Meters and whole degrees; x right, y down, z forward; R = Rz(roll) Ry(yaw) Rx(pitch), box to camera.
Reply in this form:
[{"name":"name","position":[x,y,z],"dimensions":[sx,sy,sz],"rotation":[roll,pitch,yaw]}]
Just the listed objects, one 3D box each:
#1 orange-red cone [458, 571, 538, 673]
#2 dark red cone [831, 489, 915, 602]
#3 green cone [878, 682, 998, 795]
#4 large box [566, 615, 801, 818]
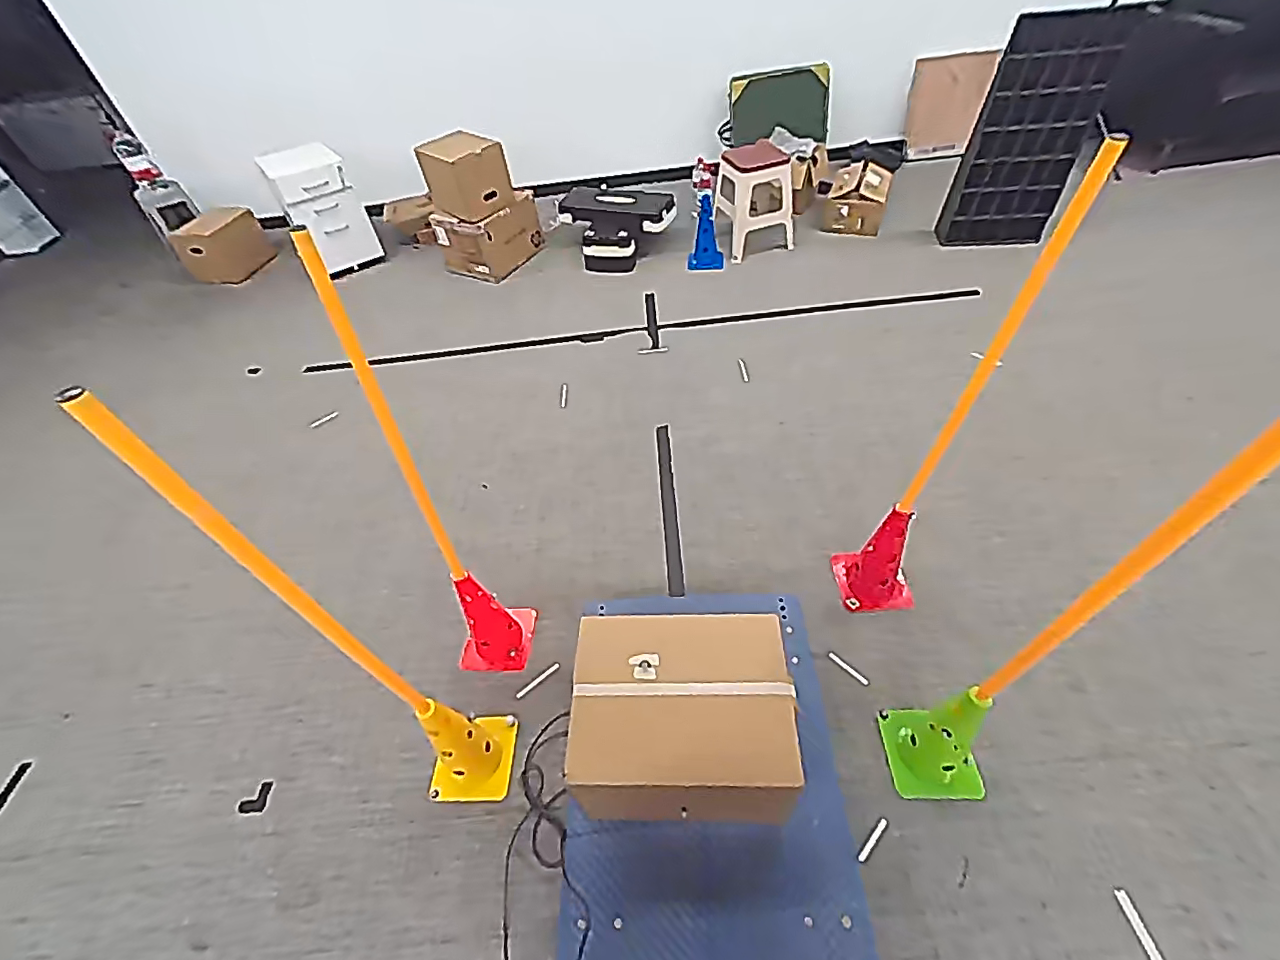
[{"name":"orange-red cone","position":[-0.433,0.364,1.504],"dimensions":[0.198,0.360,0.199],"rotation":[0,47,7]},{"name":"dark red cone","position":[0.684,0.169,1.504],"dimensions":[0.201,0.394,0.202],"rotation":[-5,48,1]},{"name":"green cone","position":[0.690,0.539,1.190],"dimensions":[0.202,0.368,0.200],"rotation":[-2,48,4]},{"name":"large box","position":[0.089,0.496,1.115],"dimensions":[0.408,0.320,0.320],"rotation":[-3,48,6]}]
